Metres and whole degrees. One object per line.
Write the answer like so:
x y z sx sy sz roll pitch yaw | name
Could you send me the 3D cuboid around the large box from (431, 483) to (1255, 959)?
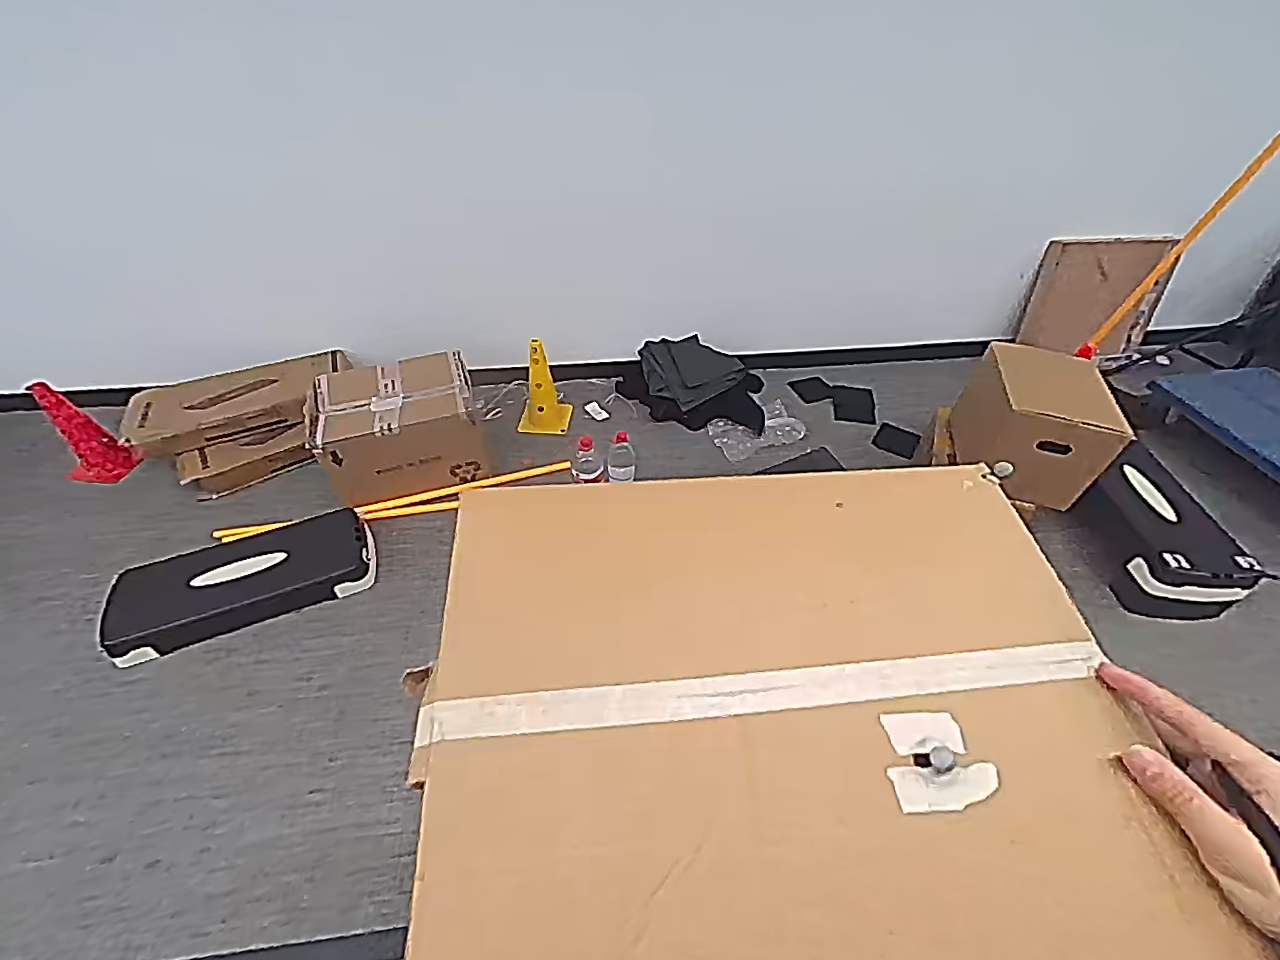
0.078 0.225 0.442 0.408 0.320 0.320 -3 54 -7 | large box
